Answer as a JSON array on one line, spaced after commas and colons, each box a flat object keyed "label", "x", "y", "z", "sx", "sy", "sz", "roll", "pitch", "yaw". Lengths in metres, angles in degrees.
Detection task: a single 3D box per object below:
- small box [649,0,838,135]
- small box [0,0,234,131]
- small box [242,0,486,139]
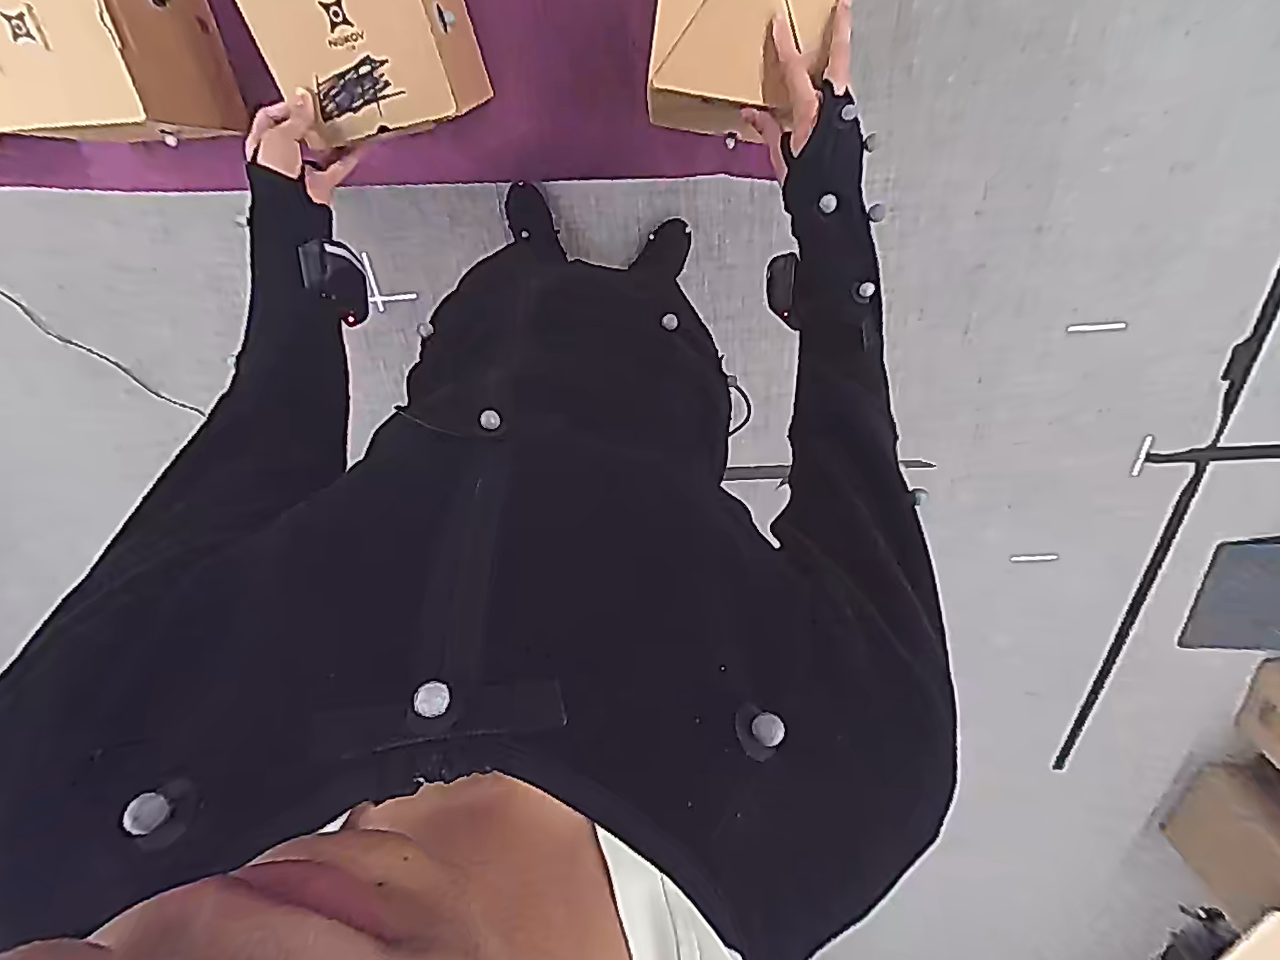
[{"label": "small box", "x": 0.102, "y": -0.479, "z": 0.551, "sx": 0.168, "sy": 0.176, "sz": 0.179, "roll": 9, "pitch": 112, "yaw": -1}, {"label": "small box", "x": -0.586, "y": -0.482, "z": 0.581, "sx": 0.179, "sy": 0.176, "sz": 0.168, "roll": -2, "pitch": 118, "yaw": 2}, {"label": "small box", "x": -0.276, "y": -0.481, "z": 0.556, "sx": 0.168, "sy": 0.176, "sz": 0.179, "roll": -10, "pitch": 129, "yaw": 7}]
